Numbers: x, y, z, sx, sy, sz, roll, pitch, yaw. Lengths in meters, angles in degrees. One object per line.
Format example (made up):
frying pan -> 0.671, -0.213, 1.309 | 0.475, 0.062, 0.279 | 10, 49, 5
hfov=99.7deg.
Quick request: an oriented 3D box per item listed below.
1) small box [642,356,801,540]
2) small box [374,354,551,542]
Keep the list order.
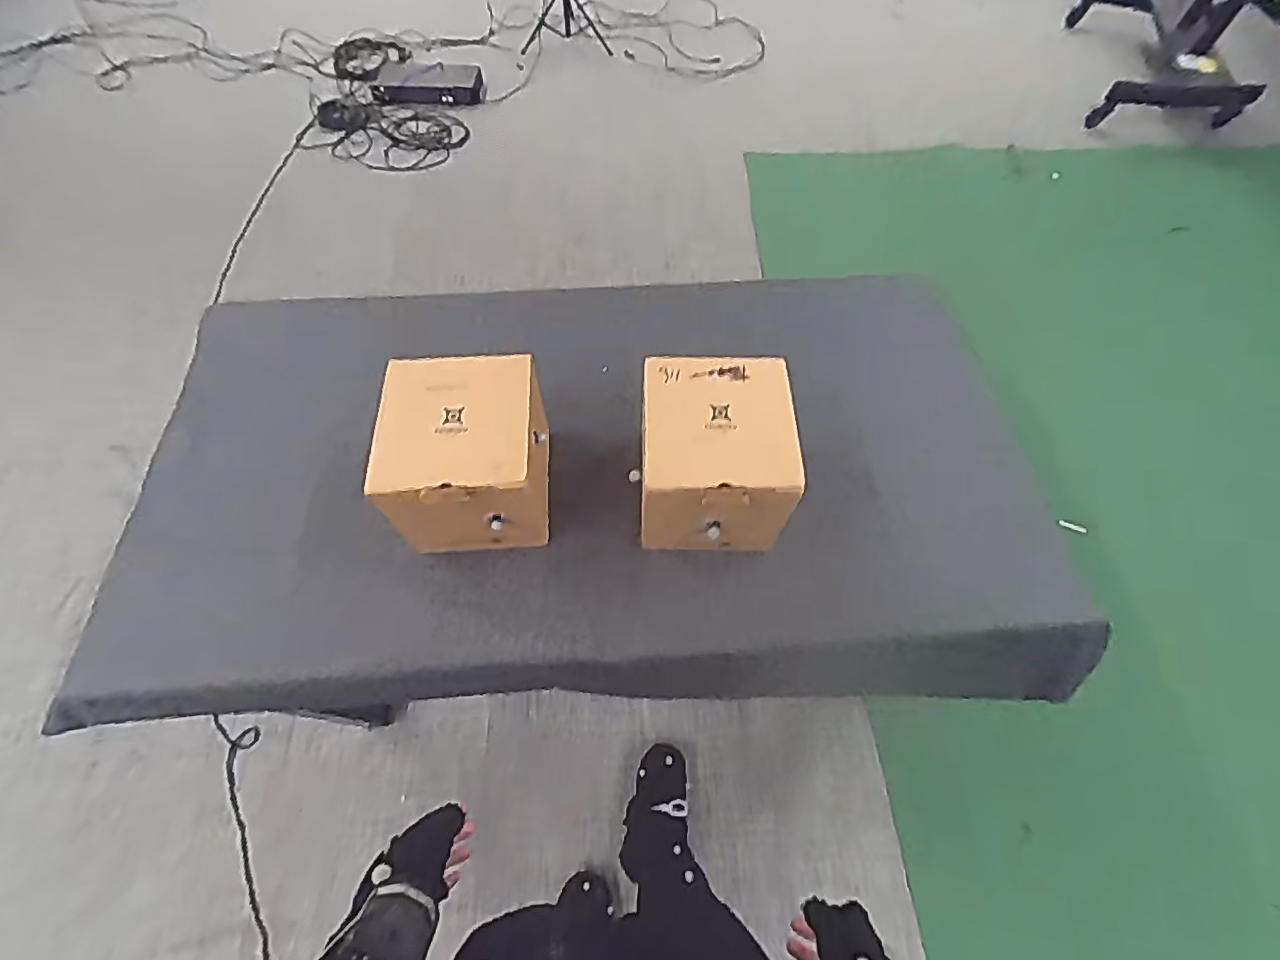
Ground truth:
small box -> 0.088, -0.032, 0.668 | 0.168, 0.176, 0.179 | 0, 62, -1
small box -> -0.201, -0.030, 0.667 | 0.168, 0.176, 0.179 | -4, 60, -4
